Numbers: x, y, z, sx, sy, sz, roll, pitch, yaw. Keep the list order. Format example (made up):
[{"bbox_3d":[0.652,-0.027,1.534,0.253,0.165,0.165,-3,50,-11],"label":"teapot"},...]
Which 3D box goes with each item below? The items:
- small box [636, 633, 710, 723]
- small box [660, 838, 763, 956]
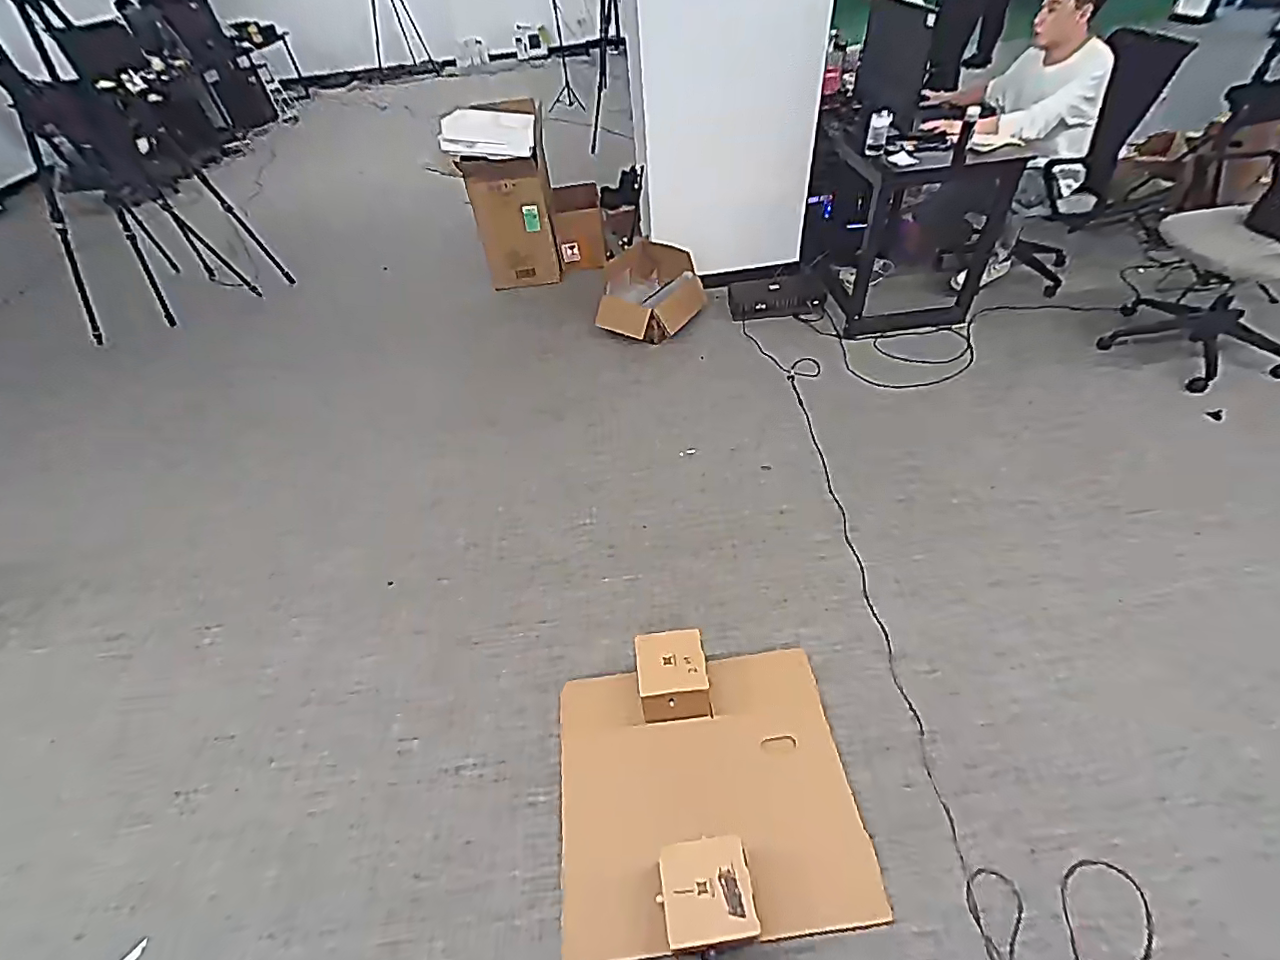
[{"bbox_3d":[0.086,0.528,1.431,0.179,0.176,0.168,-6,46,0],"label":"small box"},{"bbox_3d":[0.139,0.858,1.110,0.179,0.176,0.168,-8,46,-1],"label":"small box"}]
